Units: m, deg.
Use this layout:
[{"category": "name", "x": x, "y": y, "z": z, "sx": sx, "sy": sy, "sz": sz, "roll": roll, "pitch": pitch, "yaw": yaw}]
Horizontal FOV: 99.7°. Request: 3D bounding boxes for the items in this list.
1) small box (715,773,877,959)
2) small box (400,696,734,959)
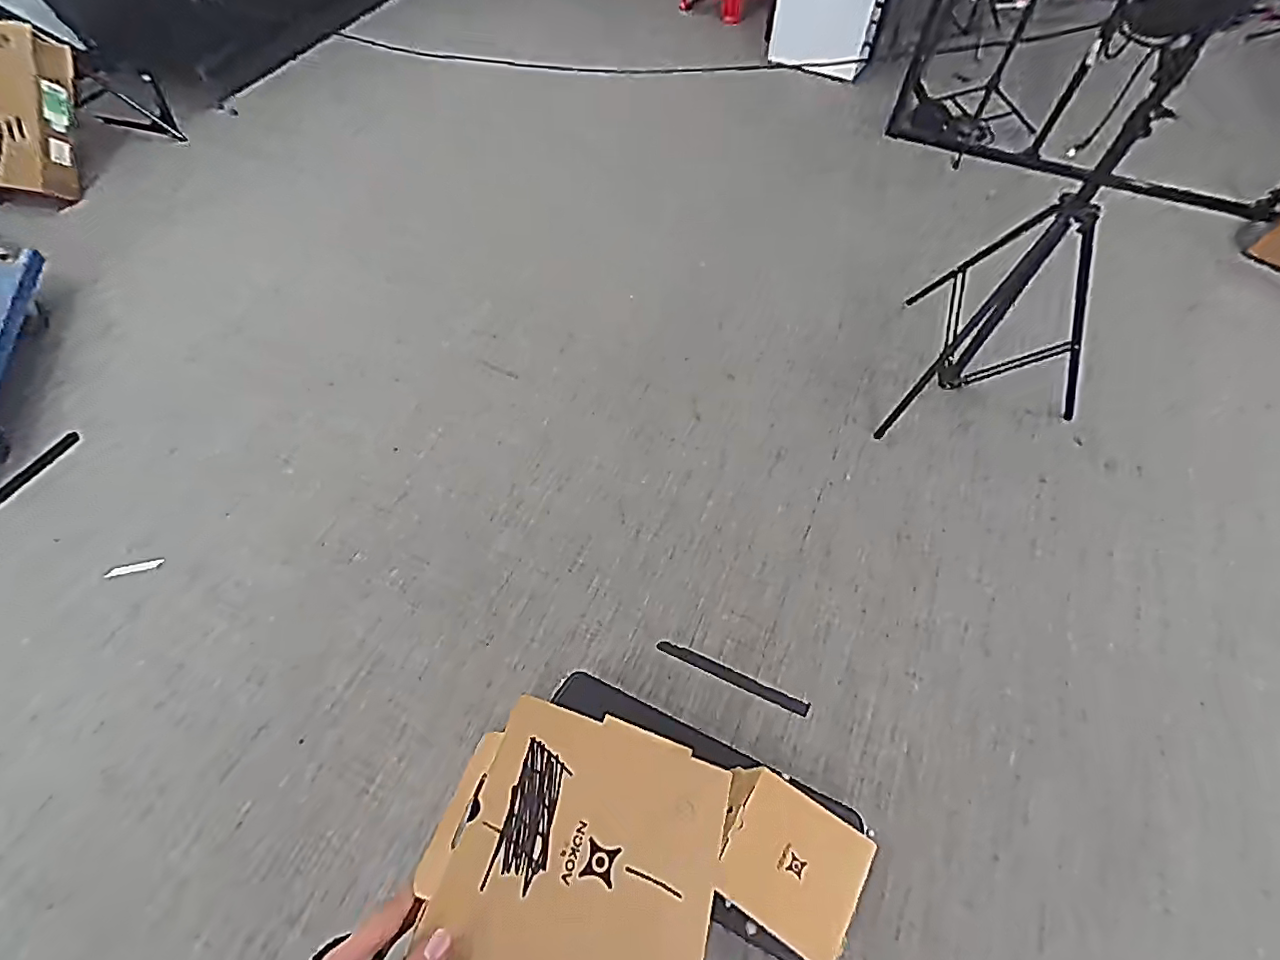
[{"category": "small box", "x": 0.204, "y": 0.554, "z": 0.785, "sx": 0.179, "sy": 0.176, "sz": 0.168, "roll": 28, "pitch": 64, "yaw": 17}, {"category": "small box", "x": -0.049, "y": 0.298, "z": 0.412, "sx": 0.179, "sy": 0.176, "sz": 0.168, "roll": 20, "pitch": 49, "yaw": 3}]
